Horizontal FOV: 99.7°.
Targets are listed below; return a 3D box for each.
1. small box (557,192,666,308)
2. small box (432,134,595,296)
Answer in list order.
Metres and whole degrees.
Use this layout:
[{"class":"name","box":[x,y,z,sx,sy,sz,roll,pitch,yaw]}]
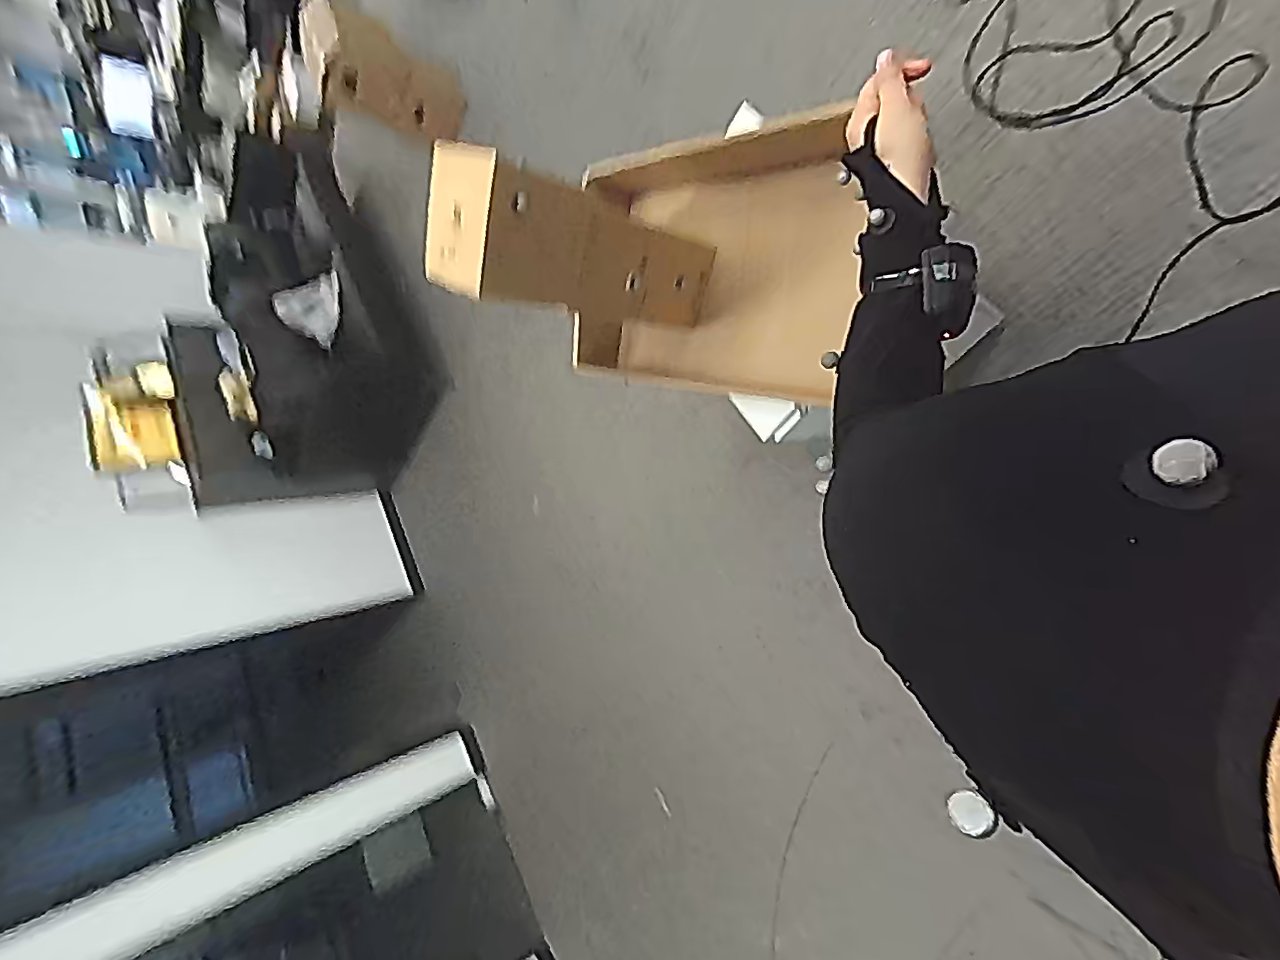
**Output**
[{"class":"small box","box":[-0.087,-0.407,0.942,0.179,0.176,0.168,36,121,33]},{"class":"small box","box":[-0.189,-0.390,0.812,0.168,0.176,0.179,33,119,36]}]
